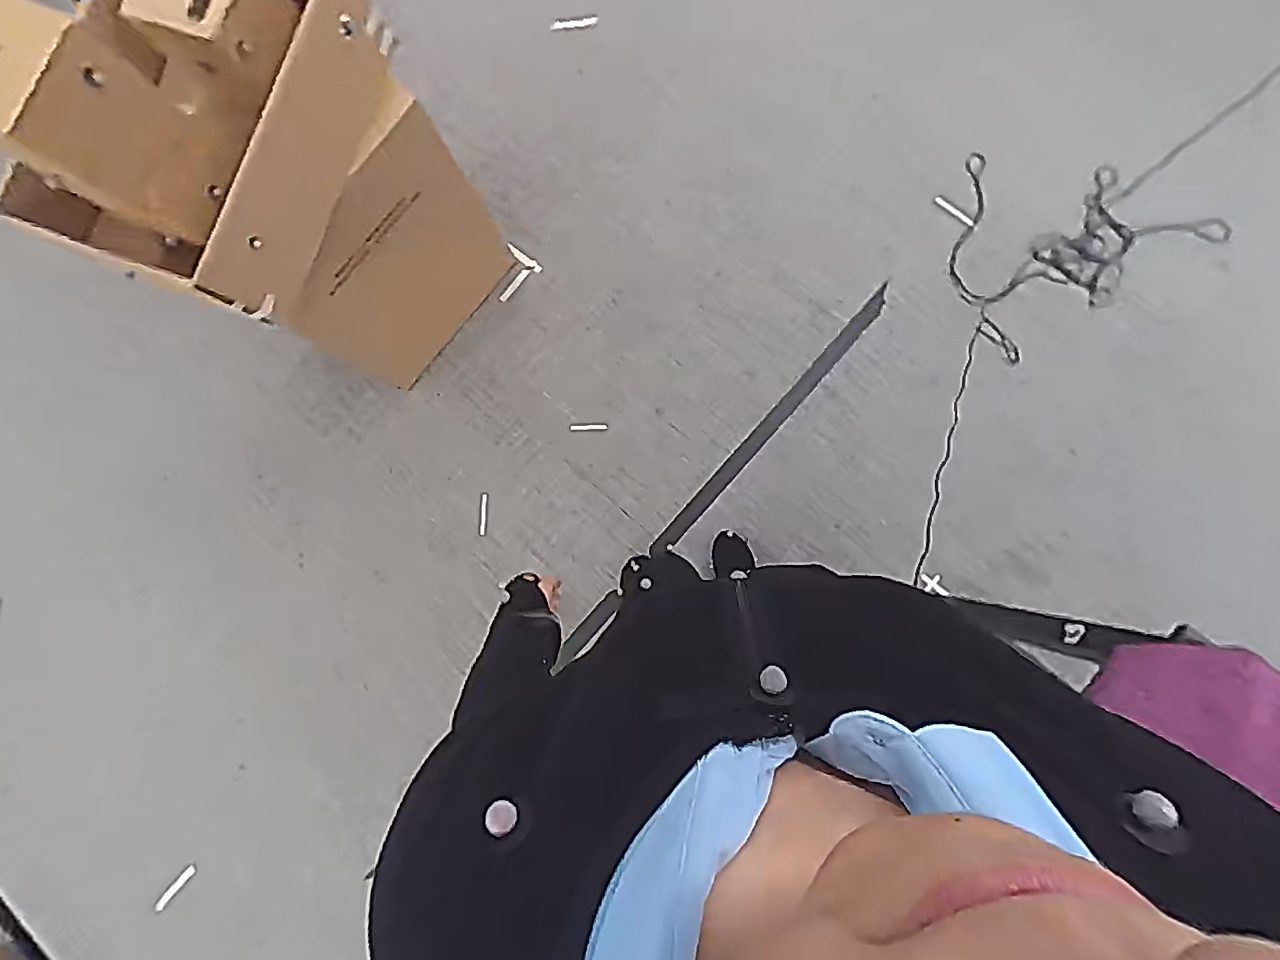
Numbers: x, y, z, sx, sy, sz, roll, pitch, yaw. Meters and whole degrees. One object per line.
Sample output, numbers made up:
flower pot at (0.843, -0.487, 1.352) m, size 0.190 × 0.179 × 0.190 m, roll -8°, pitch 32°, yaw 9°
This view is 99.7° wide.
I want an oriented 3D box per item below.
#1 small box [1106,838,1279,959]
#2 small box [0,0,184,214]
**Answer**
small box at (0.688, 0.555, 0.601) m, size 0.168 × 0.176 × 0.179 m, roll 37°, pitch 88°, yaw 8°
small box at (-0.799, -0.517, 0.753) m, size 0.168 × 0.176 × 0.179 m, roll 23°, pitch 87°, yaw 6°
